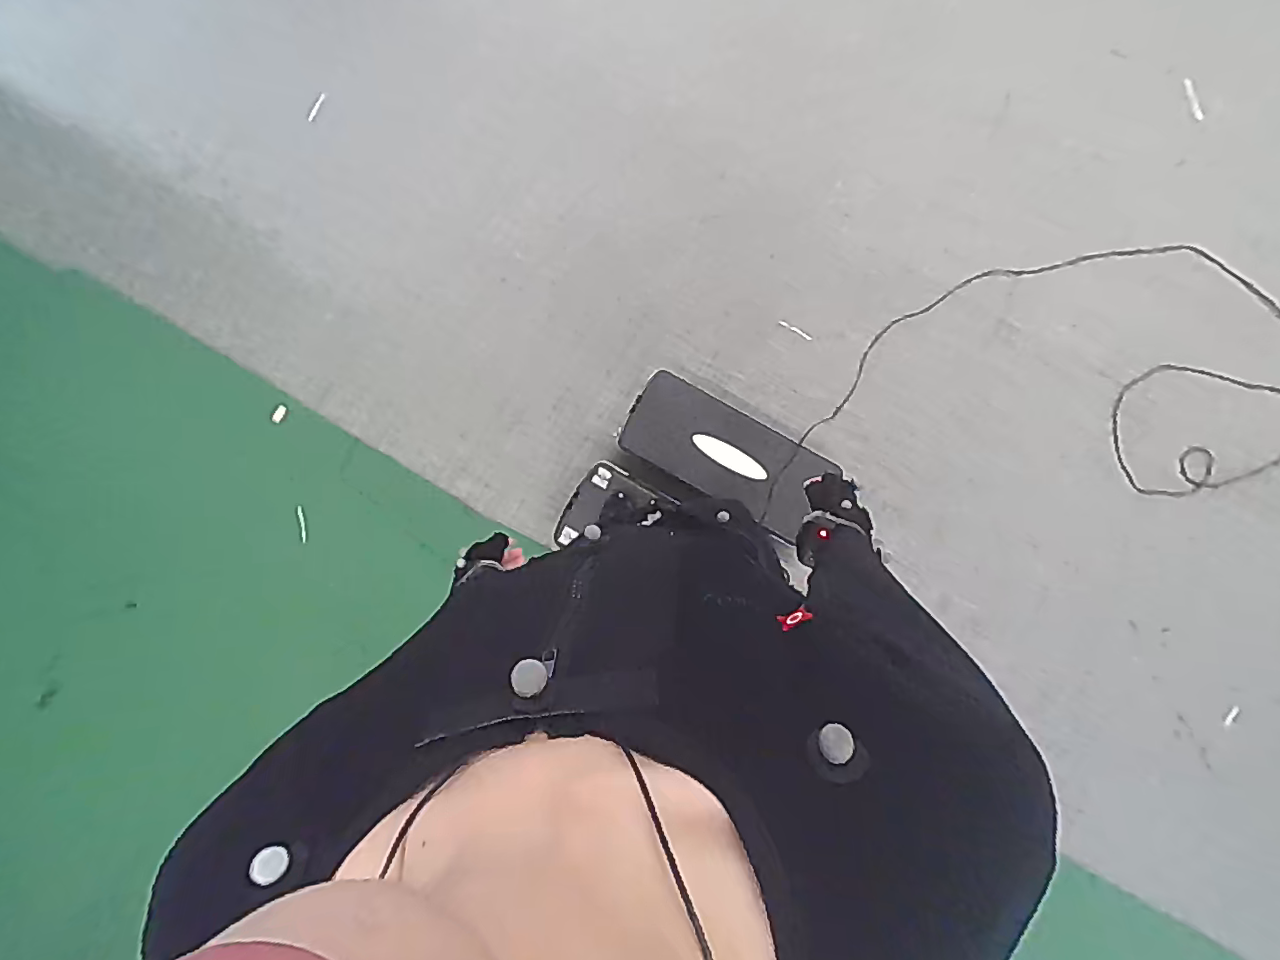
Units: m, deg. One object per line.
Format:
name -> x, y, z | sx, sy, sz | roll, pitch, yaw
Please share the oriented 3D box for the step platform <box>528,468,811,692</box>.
step platform -> 0.070, 0.242, 1.395 | 0.684, 0.204, 0.286 | 30, 89, 2
